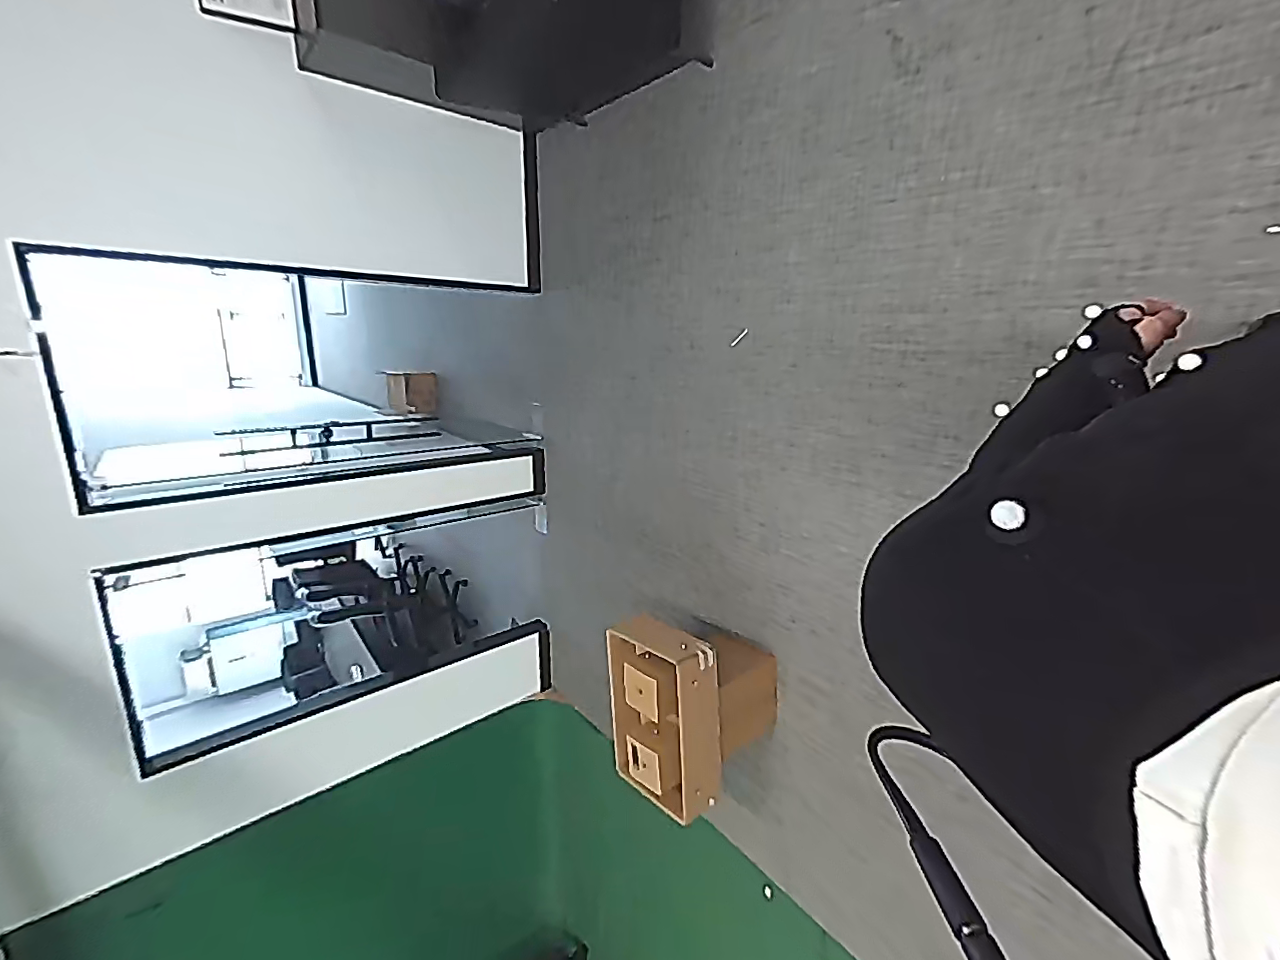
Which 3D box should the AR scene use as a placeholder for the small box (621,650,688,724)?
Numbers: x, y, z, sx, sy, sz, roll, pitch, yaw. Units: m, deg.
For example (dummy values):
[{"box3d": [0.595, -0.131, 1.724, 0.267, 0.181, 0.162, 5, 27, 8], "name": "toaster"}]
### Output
[{"box3d": [0.052, 0.735, 1.948, 0.179, 0.176, 0.168, 11, 107, 48], "name": "small box"}]
